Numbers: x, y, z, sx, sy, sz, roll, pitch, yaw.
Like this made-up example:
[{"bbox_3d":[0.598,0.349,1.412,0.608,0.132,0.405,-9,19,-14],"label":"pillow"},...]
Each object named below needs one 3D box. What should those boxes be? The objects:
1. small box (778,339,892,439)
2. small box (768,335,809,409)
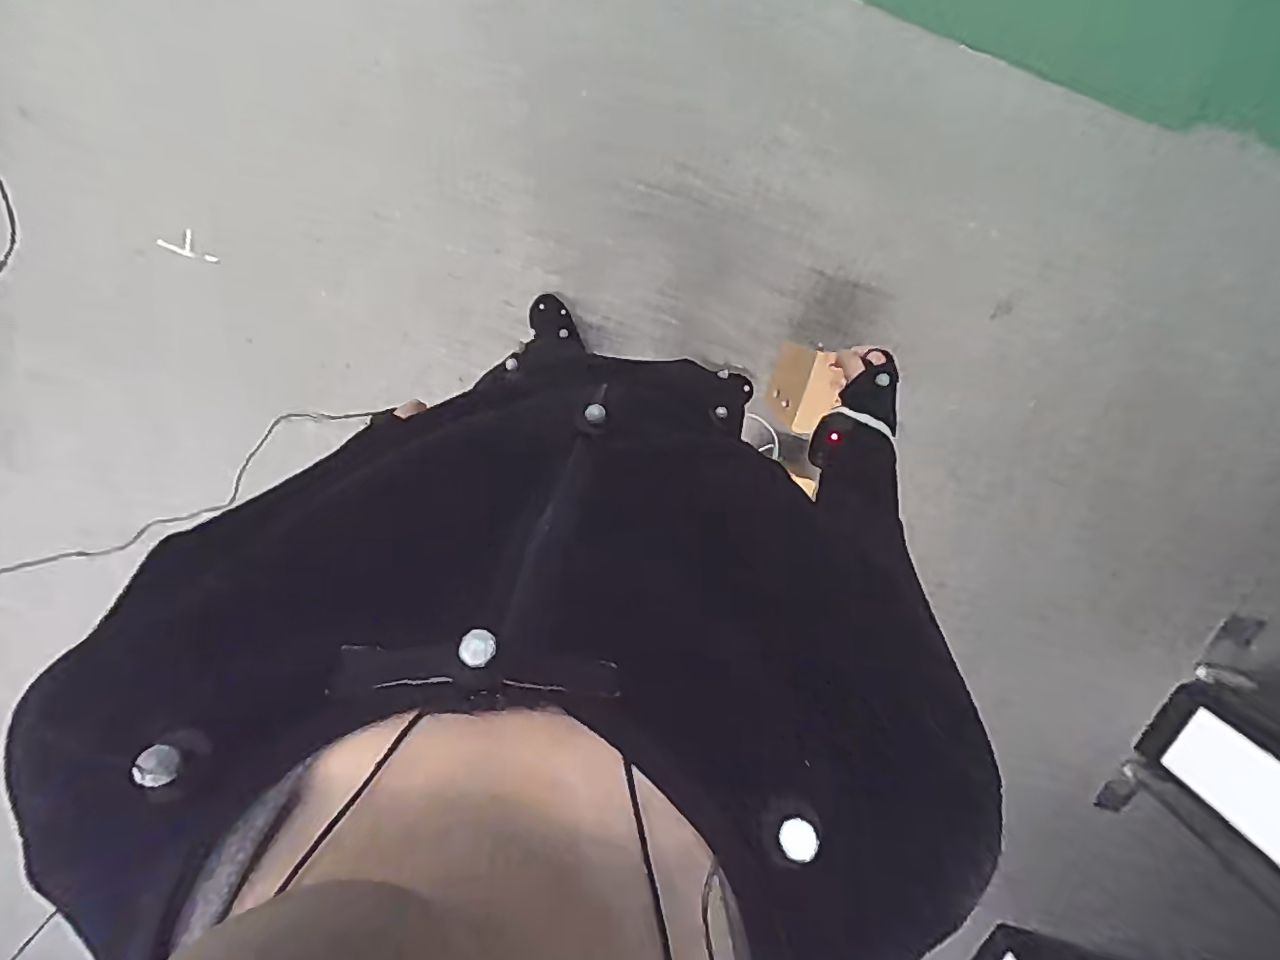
[{"bbox_3d":[0.427,-0.211,1.221,0.168,0.176,0.179,14,107,-5],"label":"small box"},{"bbox_3d":[0.438,-0.261,1.376,0.168,0.176,0.179,14,107,-5],"label":"small box"}]
